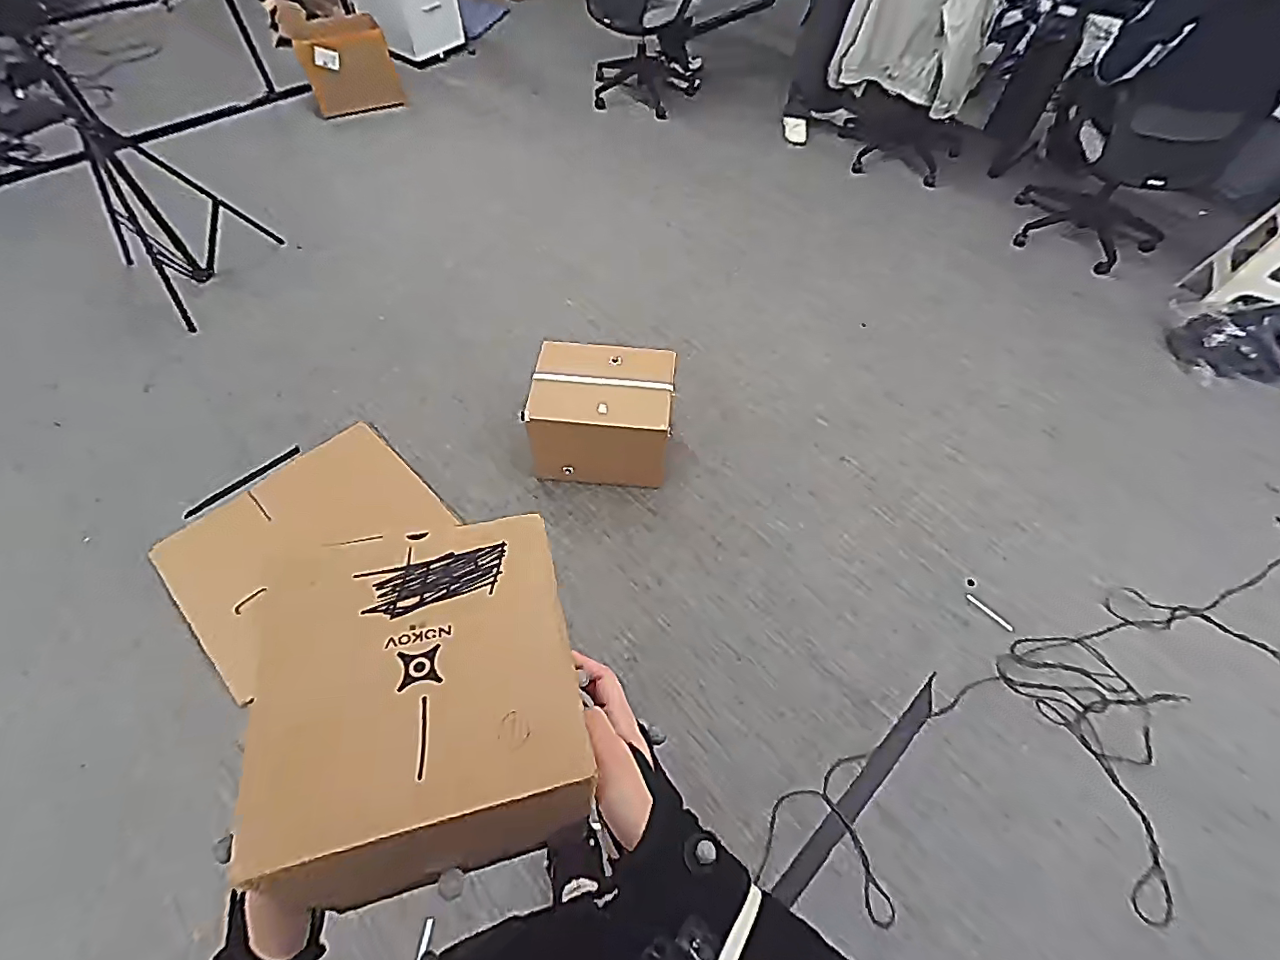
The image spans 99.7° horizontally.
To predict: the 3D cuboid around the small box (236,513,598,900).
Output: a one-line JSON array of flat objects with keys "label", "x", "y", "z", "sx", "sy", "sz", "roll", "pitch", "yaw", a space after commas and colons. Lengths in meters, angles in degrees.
[{"label": "small box", "x": -0.130, "y": 0.149, "z": 0.367, "sx": 0.168, "sy": 0.176, "sz": 0.179, "roll": -8, "pitch": 50, "yaw": -15}]
